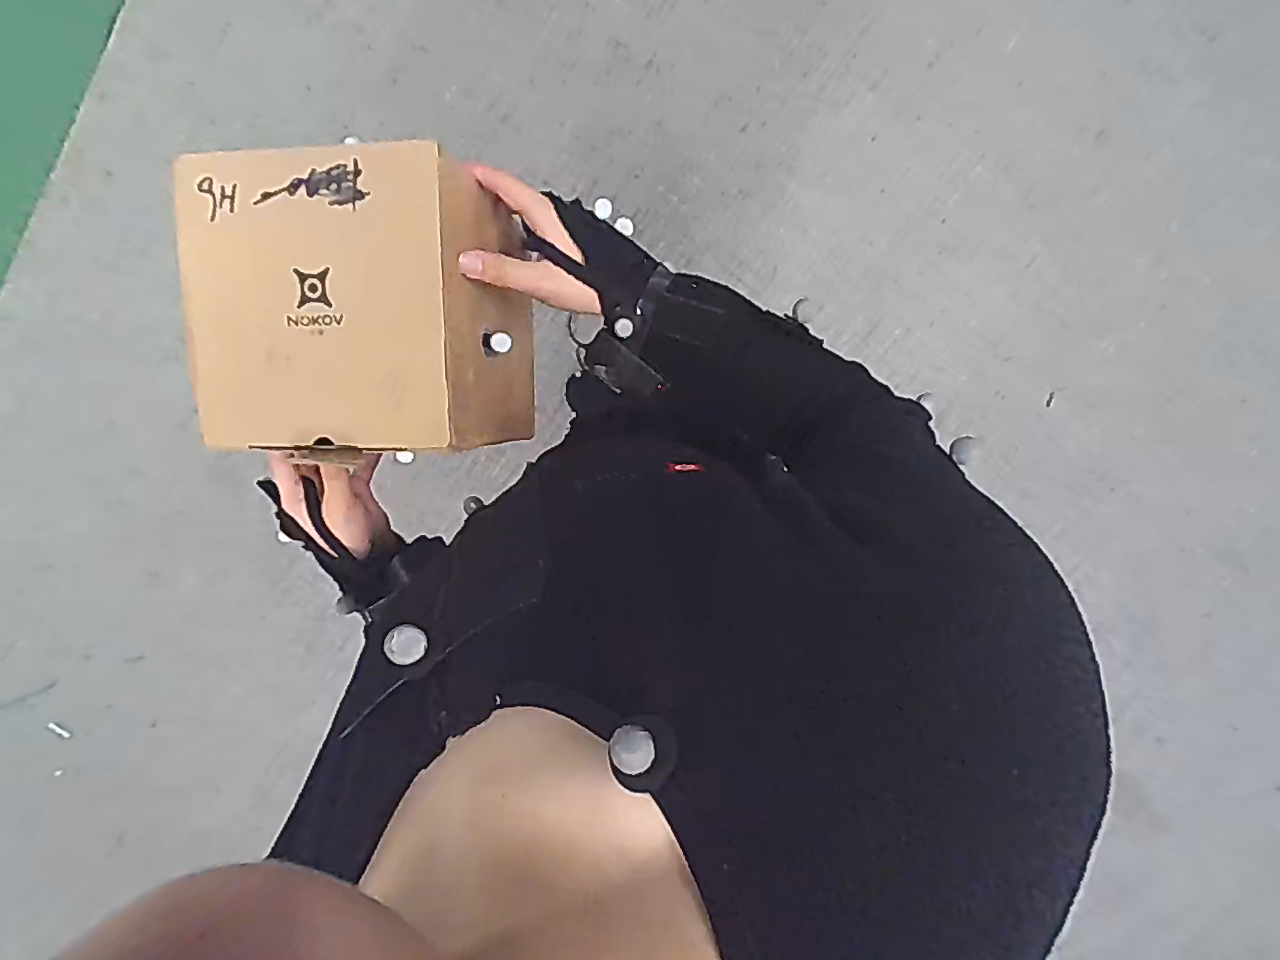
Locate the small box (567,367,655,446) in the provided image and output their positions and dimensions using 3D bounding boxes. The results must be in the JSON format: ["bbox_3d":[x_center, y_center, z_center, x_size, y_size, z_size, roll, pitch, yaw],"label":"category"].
[{"bbox_3d":[-0.066,-0.173,1.284,0.179,0.176,0.168,-5,97,9],"label":"small box"}]
